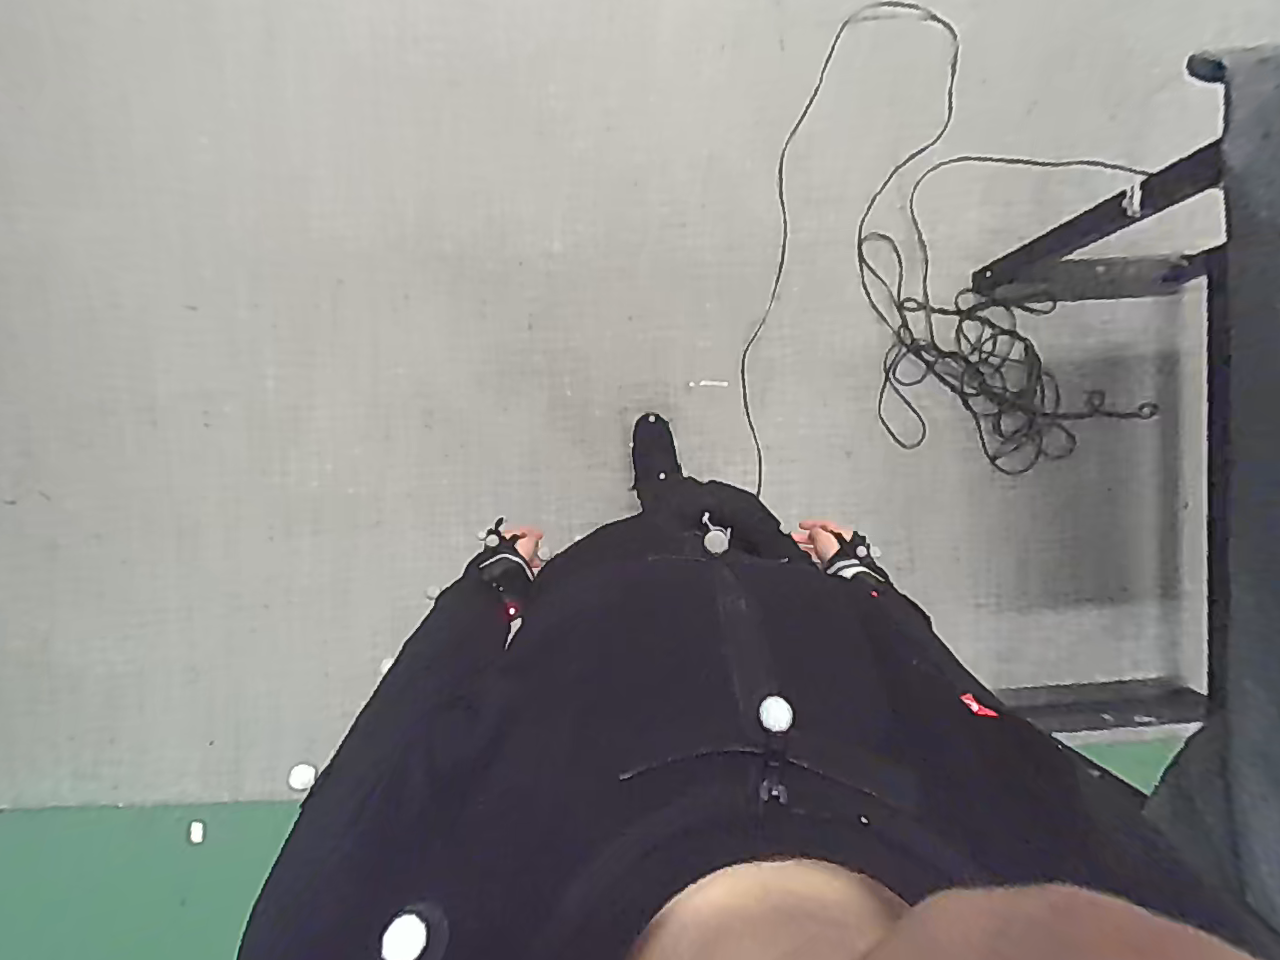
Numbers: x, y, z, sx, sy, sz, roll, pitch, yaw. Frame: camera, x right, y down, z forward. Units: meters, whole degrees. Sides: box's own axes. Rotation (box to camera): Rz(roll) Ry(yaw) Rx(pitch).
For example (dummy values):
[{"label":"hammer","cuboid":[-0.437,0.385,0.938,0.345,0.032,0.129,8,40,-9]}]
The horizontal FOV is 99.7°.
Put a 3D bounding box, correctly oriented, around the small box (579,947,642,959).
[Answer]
[{"label":"small box","cuboid":[-0.068,1.300,1.317,0.168,0.176,0.179,-4,91,-3]}]
